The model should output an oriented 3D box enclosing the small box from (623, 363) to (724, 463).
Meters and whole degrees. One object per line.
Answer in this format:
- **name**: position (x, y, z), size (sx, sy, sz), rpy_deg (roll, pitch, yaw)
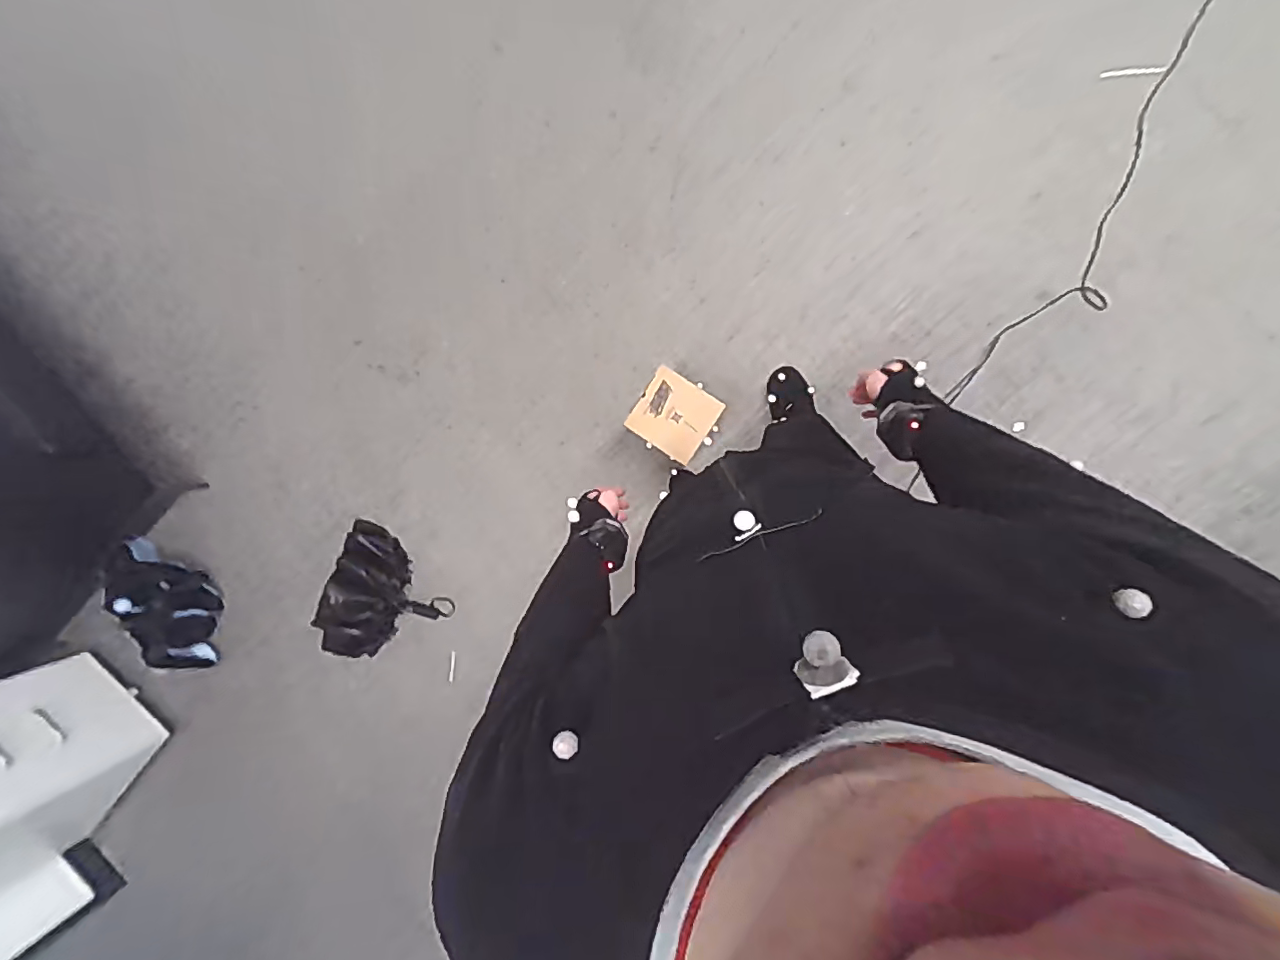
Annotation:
- **small box**: position (0.083, -0.156, 1.303), size (0.179, 0.176, 0.168), rpy_deg (34, 98, 3)
